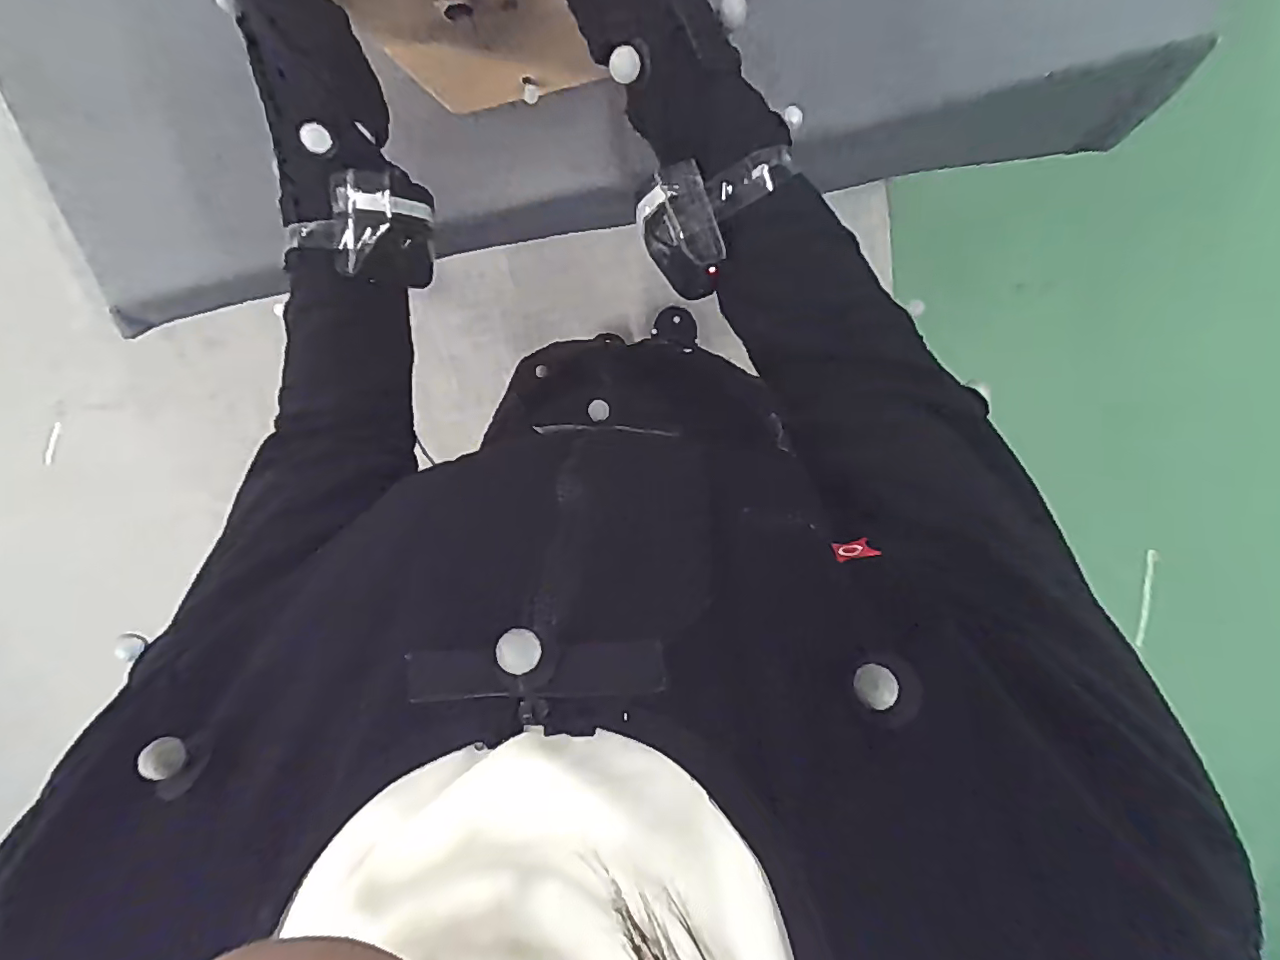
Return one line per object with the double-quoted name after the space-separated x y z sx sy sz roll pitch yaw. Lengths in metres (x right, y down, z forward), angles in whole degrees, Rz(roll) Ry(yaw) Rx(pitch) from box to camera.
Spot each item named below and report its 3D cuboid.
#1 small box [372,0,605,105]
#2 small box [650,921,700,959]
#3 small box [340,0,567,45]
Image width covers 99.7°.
-0.130 -0.450 0.455 0.179 0.176 0.168 -10 108 5 "small box"
0.133 1.790 2.021 0.179 0.176 0.168 -8 109 5 "small box"
-0.139 -0.395 0.303 0.168 0.176 0.179 -9 110 6 "small box"
